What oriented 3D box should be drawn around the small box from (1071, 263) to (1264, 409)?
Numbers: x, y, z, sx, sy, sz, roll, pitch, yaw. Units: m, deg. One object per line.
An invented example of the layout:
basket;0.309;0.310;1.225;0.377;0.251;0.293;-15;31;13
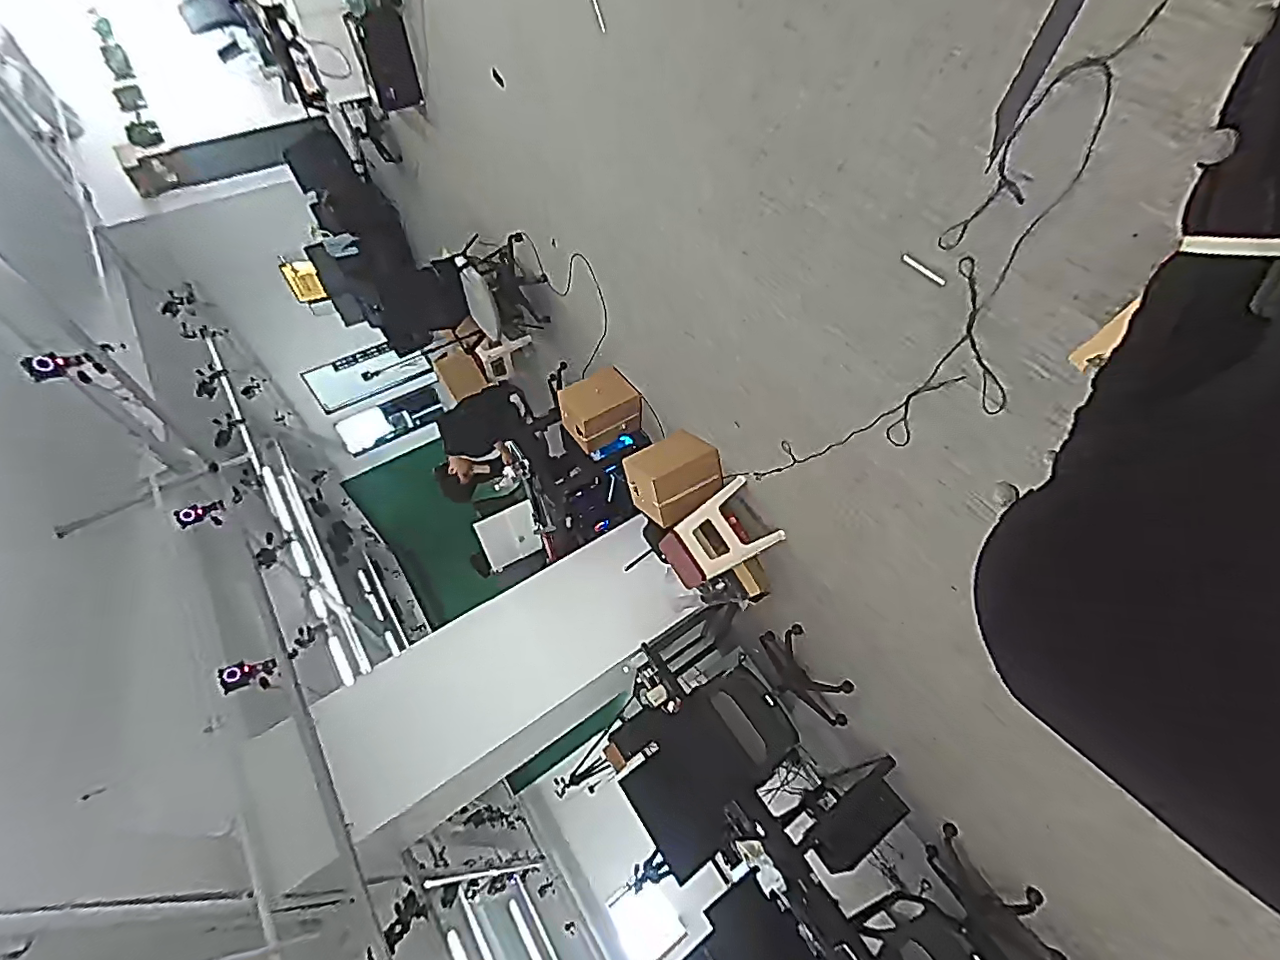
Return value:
small box;0.991;-0.271;1.022;0.168;0.176;0.179;52;157;19
